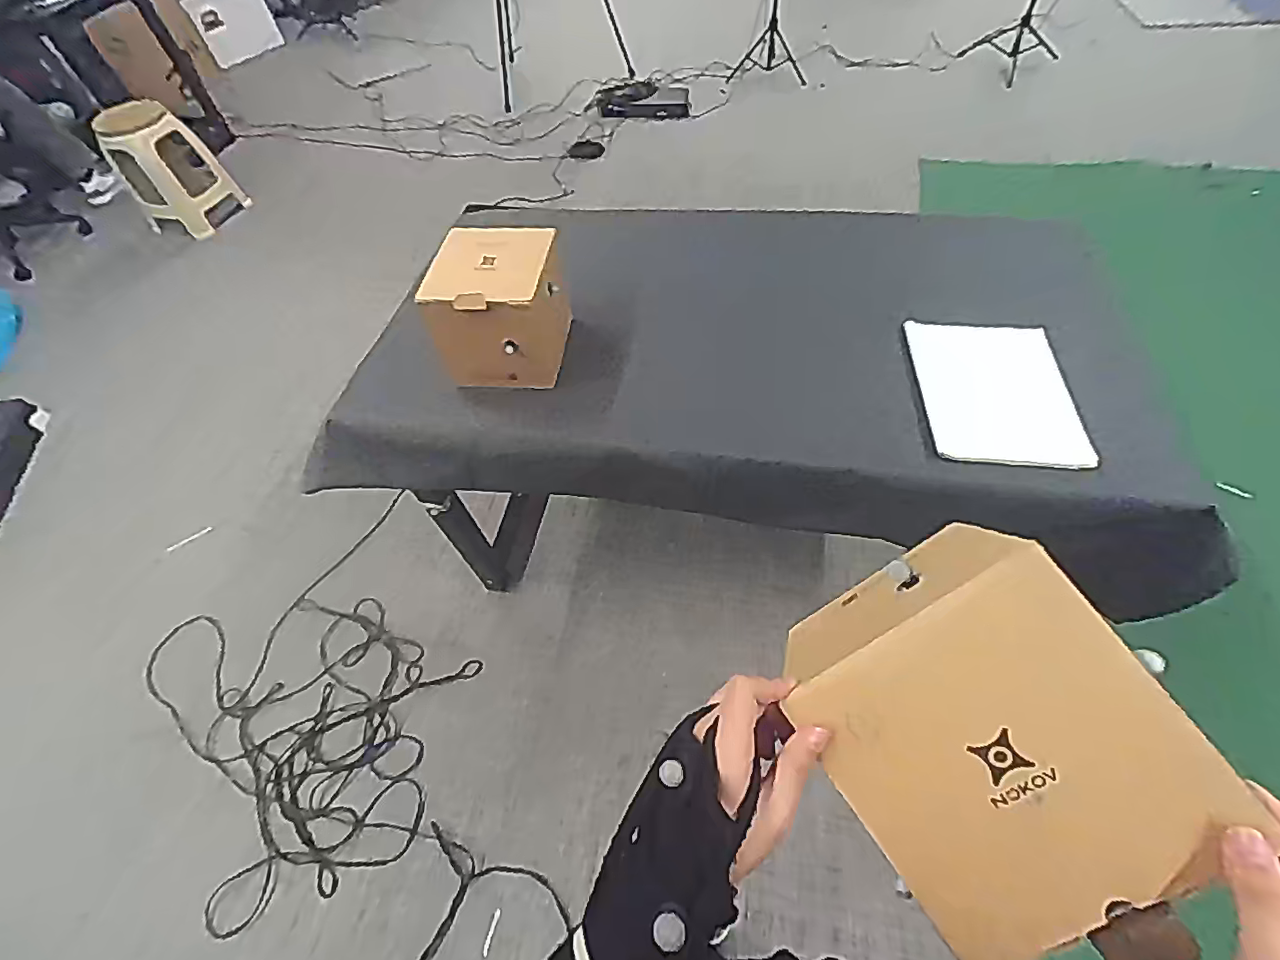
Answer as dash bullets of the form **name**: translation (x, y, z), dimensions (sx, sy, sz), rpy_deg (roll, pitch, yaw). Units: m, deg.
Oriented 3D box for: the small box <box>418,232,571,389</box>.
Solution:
- **small box**: translation (-0.208, -0.258, 0.836), dimensions (0.168, 0.176, 0.179), rpy_deg (3, 54, 5)
